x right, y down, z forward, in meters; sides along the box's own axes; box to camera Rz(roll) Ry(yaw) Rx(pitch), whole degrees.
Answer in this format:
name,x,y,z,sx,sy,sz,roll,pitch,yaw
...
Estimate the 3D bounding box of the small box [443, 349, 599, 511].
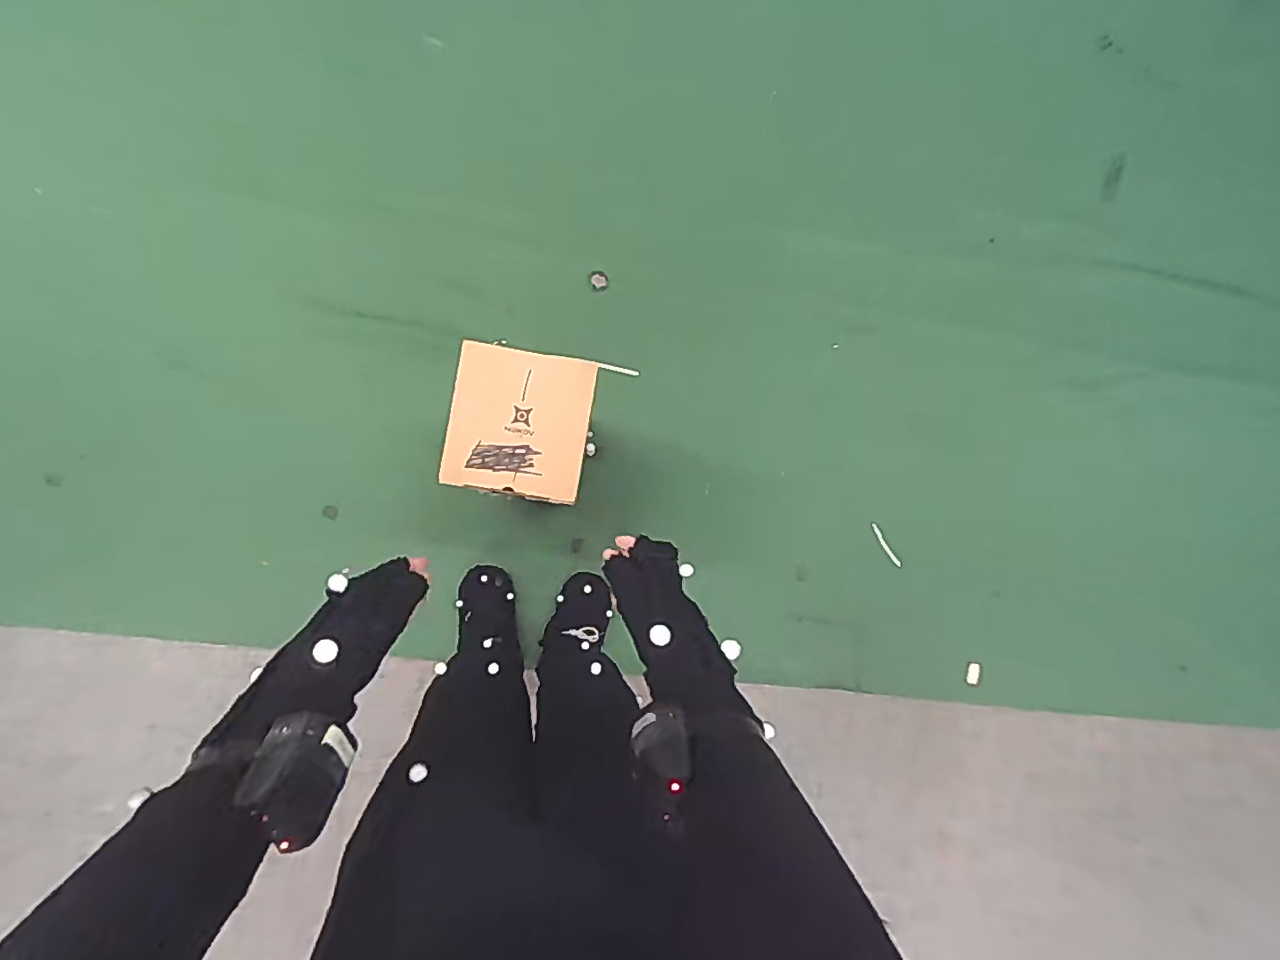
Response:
name,x,y,z,sx,sy,sz,roll,pitch,yaw
small box,-0.151,-0.059,0.736,0.168,0.176,0.179,10,88,-6
